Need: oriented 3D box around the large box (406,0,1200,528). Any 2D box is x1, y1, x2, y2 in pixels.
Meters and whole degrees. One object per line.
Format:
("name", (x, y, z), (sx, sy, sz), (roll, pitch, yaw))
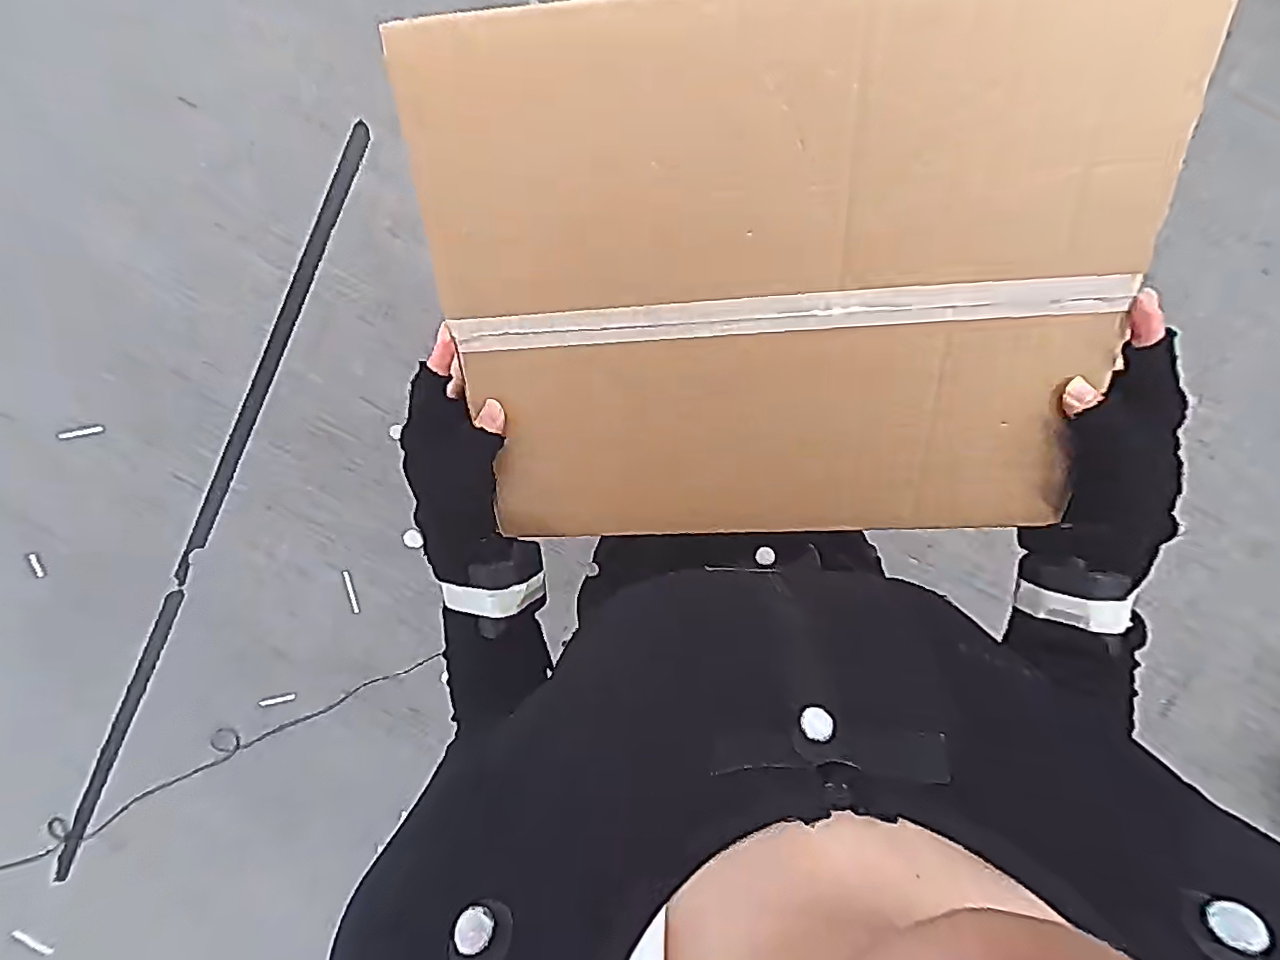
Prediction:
("large box", (0.089, -0.173, 0.469), (0.408, 0.320, 0.320), (-1, 119, 5))
